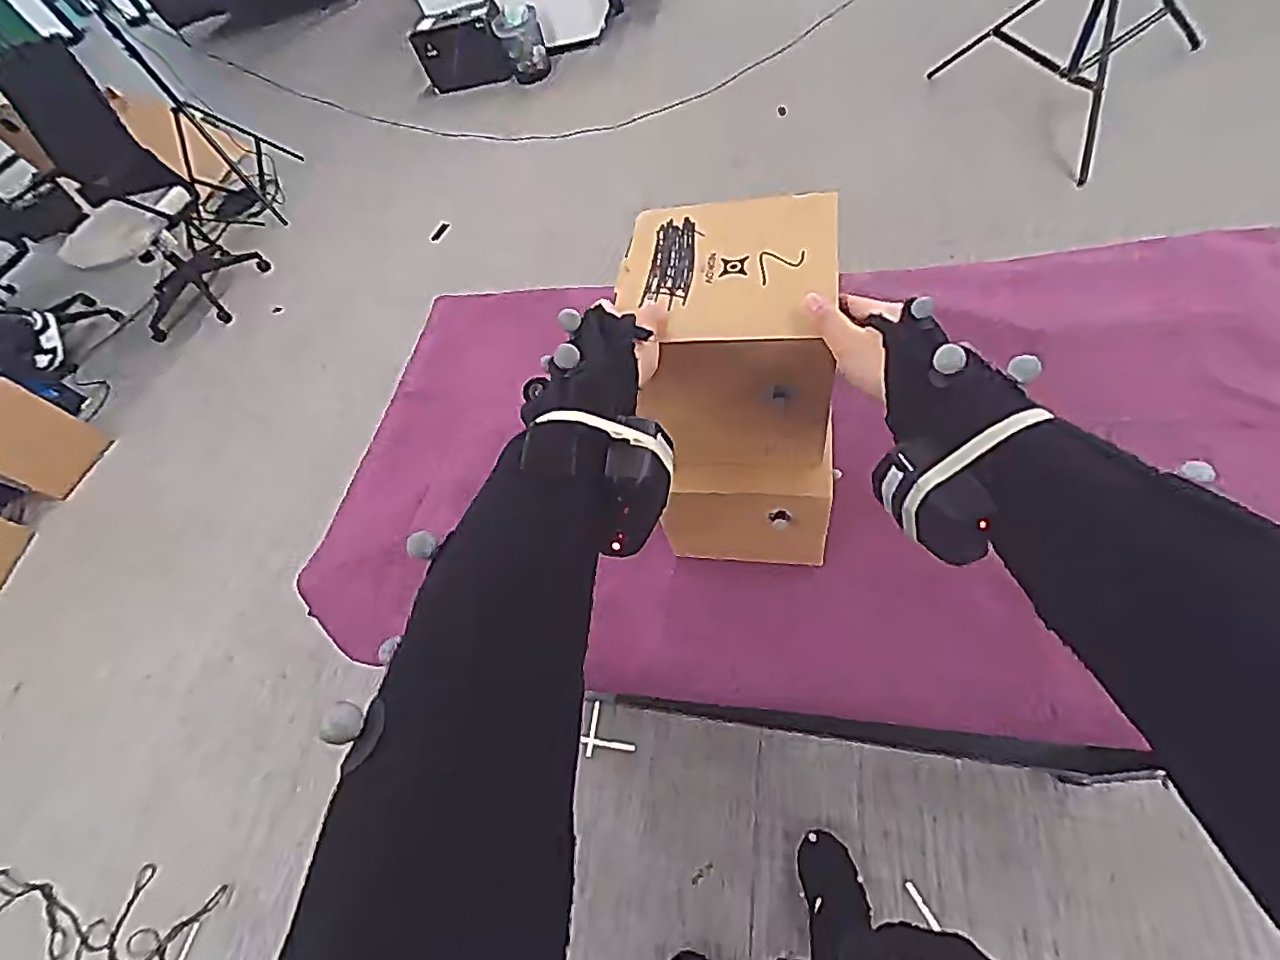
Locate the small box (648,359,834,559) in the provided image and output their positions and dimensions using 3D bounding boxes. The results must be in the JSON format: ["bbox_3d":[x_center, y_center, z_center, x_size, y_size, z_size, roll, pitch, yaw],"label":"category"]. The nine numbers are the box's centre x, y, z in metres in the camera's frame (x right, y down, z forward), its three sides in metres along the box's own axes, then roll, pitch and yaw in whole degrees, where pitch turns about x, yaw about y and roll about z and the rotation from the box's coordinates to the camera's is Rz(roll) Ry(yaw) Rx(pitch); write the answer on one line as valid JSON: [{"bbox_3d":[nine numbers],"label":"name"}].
[{"bbox_3d":[0.122,-0.018,0.617,0.179,0.176,0.168,2,59,16],"label":"small box"}]
